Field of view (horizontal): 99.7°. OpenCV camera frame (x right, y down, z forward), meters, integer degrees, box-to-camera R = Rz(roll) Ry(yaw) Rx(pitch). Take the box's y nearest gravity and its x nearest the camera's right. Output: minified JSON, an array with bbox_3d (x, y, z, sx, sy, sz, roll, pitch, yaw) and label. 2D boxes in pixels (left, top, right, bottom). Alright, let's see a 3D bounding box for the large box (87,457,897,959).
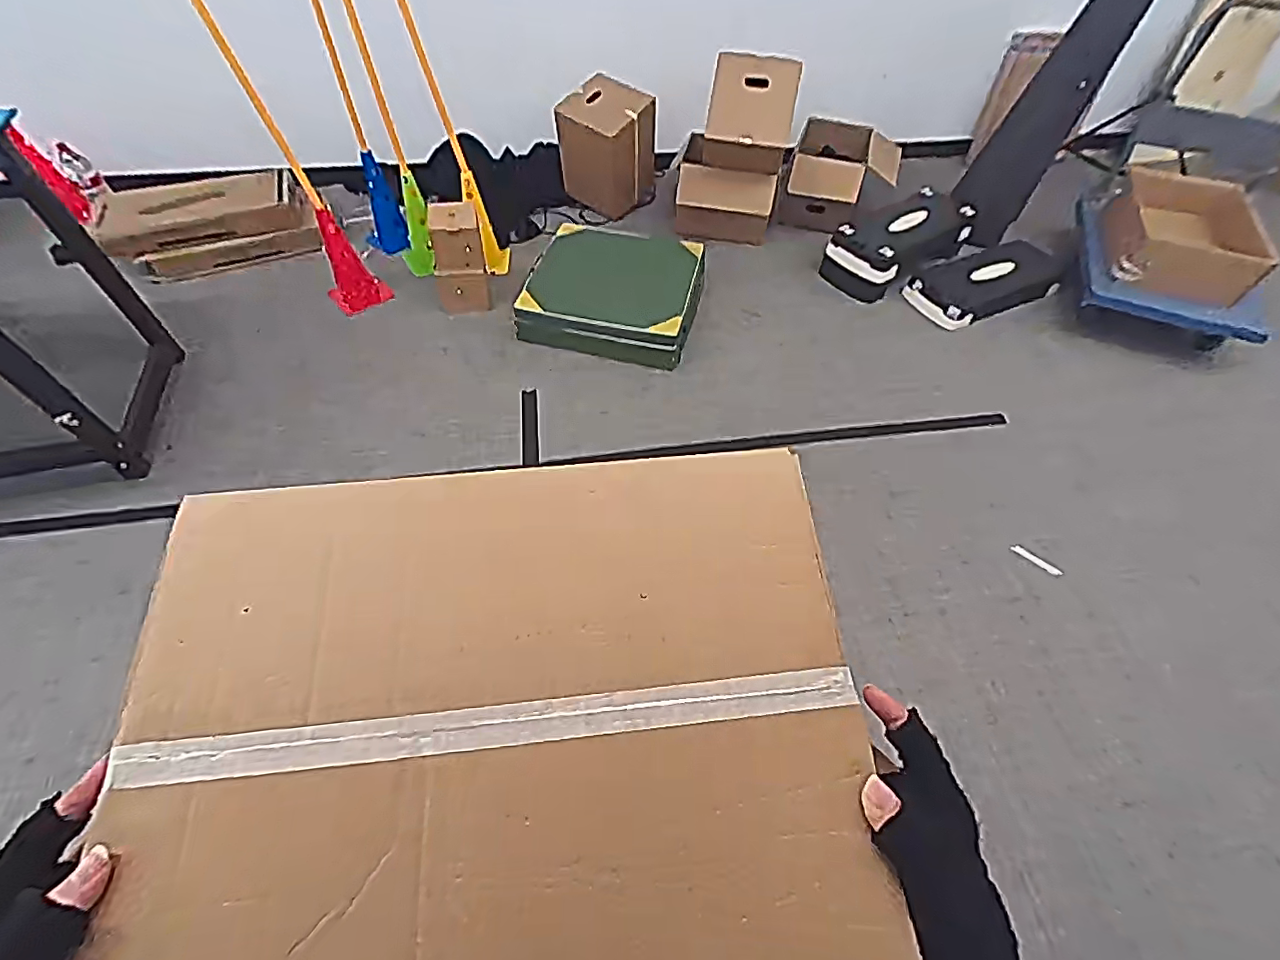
[{"bbox_3d":[-0.083,0.199,0.448,0.408,0.320,0.320,-5,65,-3],"label":"large box"}]
